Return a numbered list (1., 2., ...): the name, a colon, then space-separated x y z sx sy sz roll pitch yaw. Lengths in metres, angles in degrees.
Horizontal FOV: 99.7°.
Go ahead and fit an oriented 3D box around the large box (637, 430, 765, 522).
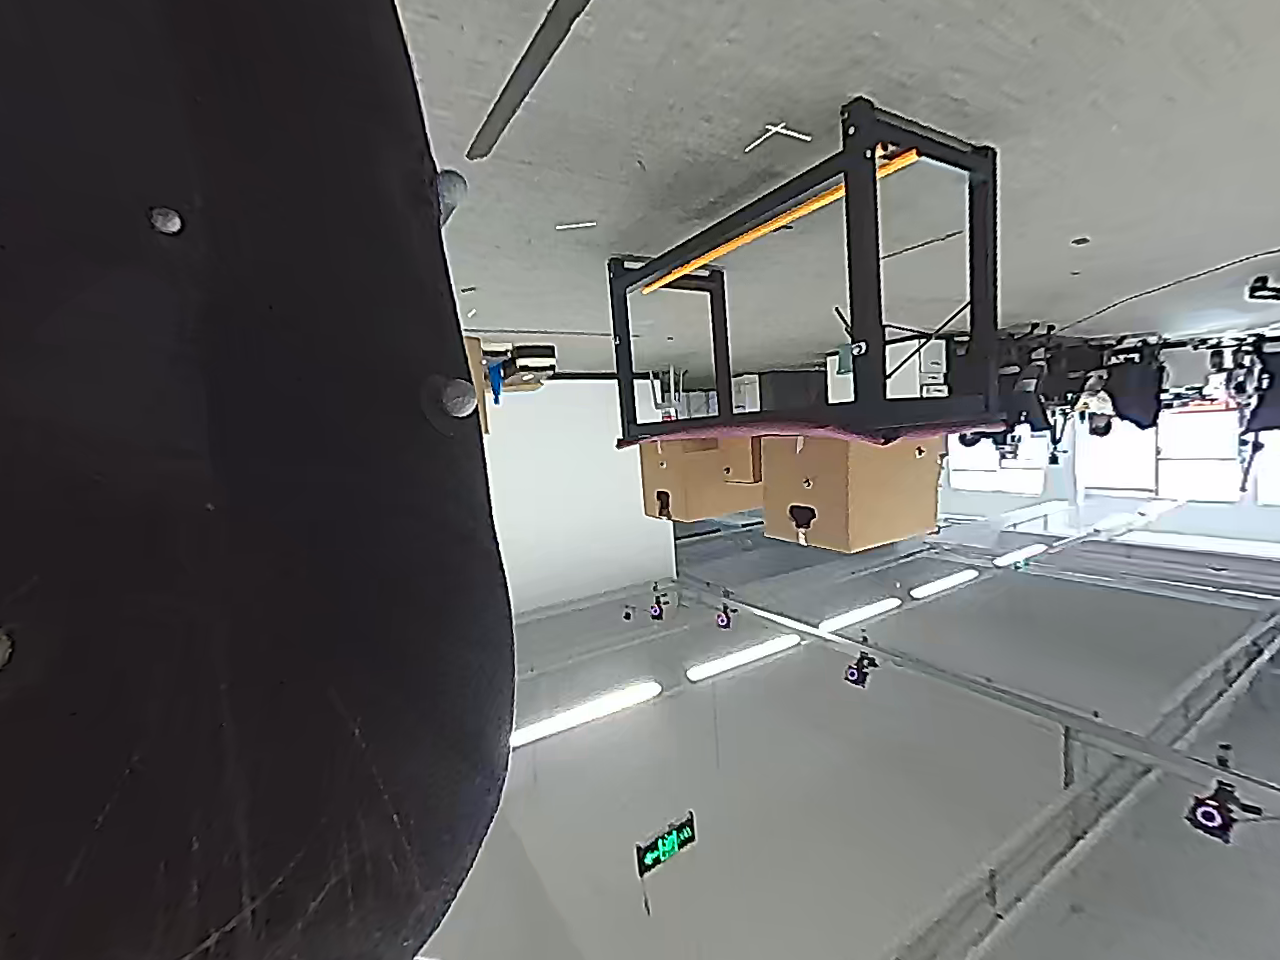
1. large box: 0.242 -0.023 2.188 0.408 0.320 0.320 -9 -173 -31
